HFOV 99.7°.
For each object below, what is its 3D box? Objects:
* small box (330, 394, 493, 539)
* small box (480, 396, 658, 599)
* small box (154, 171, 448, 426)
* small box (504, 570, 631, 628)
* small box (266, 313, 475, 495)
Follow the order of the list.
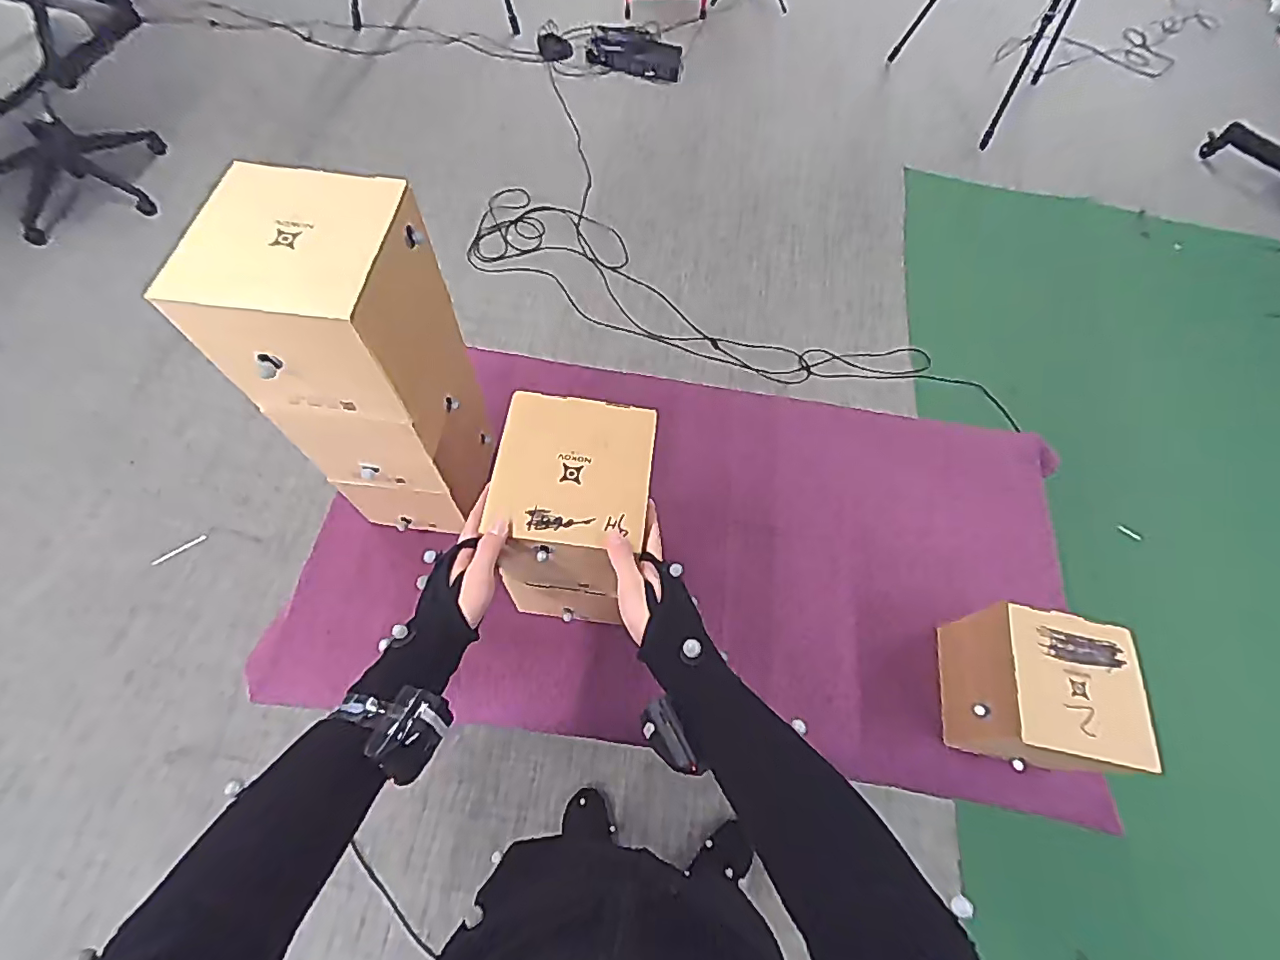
[{"bbox_3d":[-0.334,-0.026,0.836,0.168,0.176,0.179,7,64,-1],"label":"small box"},{"bbox_3d":[-0.076,0.028,0.646,0.168,0.176,0.179,8,64,0],"label":"small box"},{"bbox_3d":[-0.310,-0.172,0.546,0.168,0.176,0.179,6,63,-1],"label":"small box"},{"bbox_3d":[-0.089,0.103,0.792,0.168,0.176,0.179,8,63,0],"label":"small box"},{"bbox_3d":[-0.321,-0.100,0.691,0.168,0.176,0.179,6,64,-1],"label":"small box"}]
